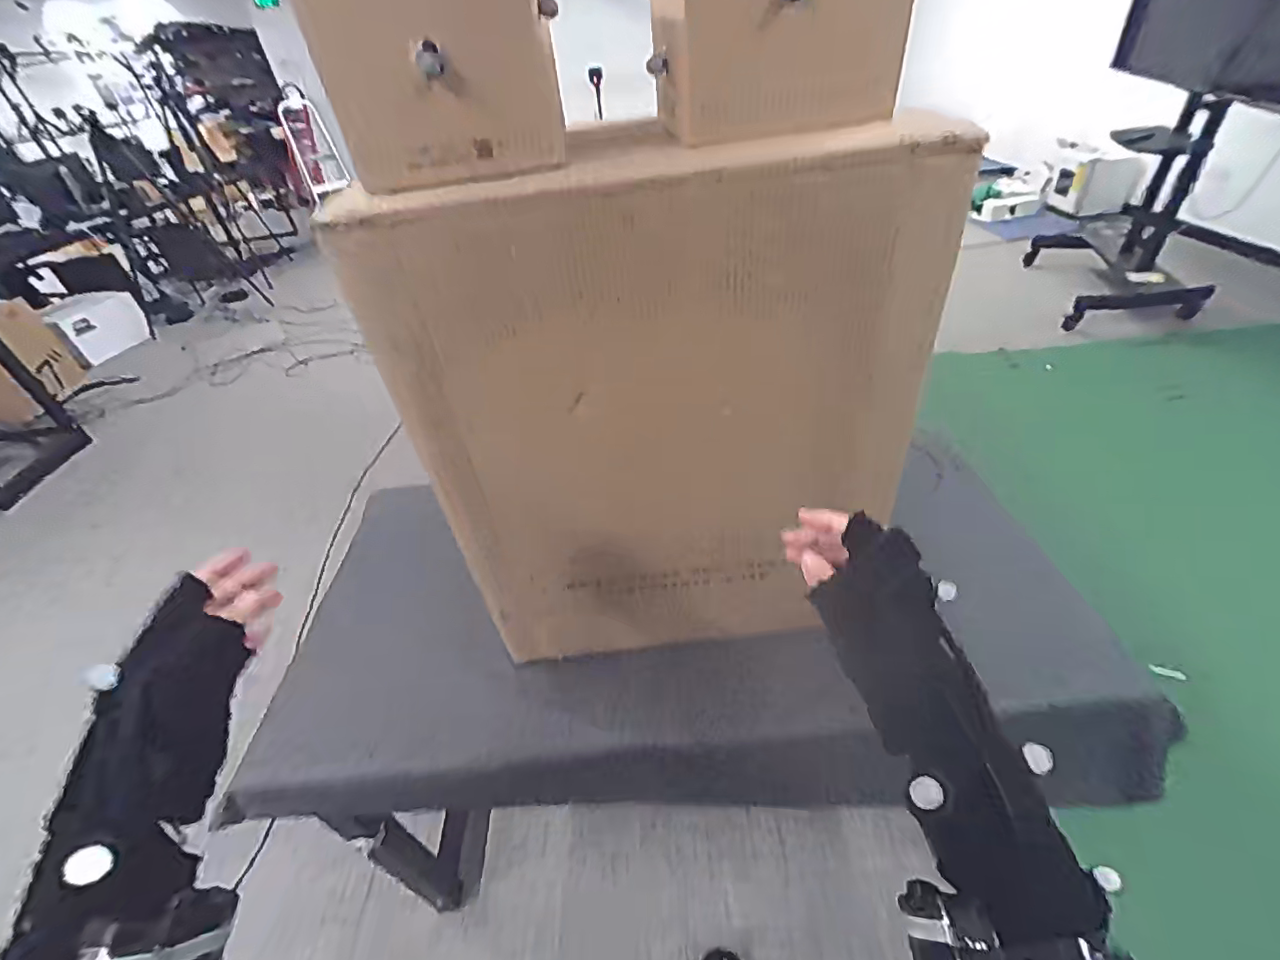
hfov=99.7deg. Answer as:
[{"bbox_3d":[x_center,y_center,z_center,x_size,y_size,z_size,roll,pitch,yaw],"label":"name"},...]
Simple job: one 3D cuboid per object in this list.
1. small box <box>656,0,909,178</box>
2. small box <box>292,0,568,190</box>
[{"bbox_3d":[0.110,-0.379,0.466,0.179,0.176,0.168,-9,41,-2],"label":"small box"},{"bbox_3d":[-0.155,-0.355,0.451,0.168,0.176,0.179,-8,42,-1],"label":"small box"}]
